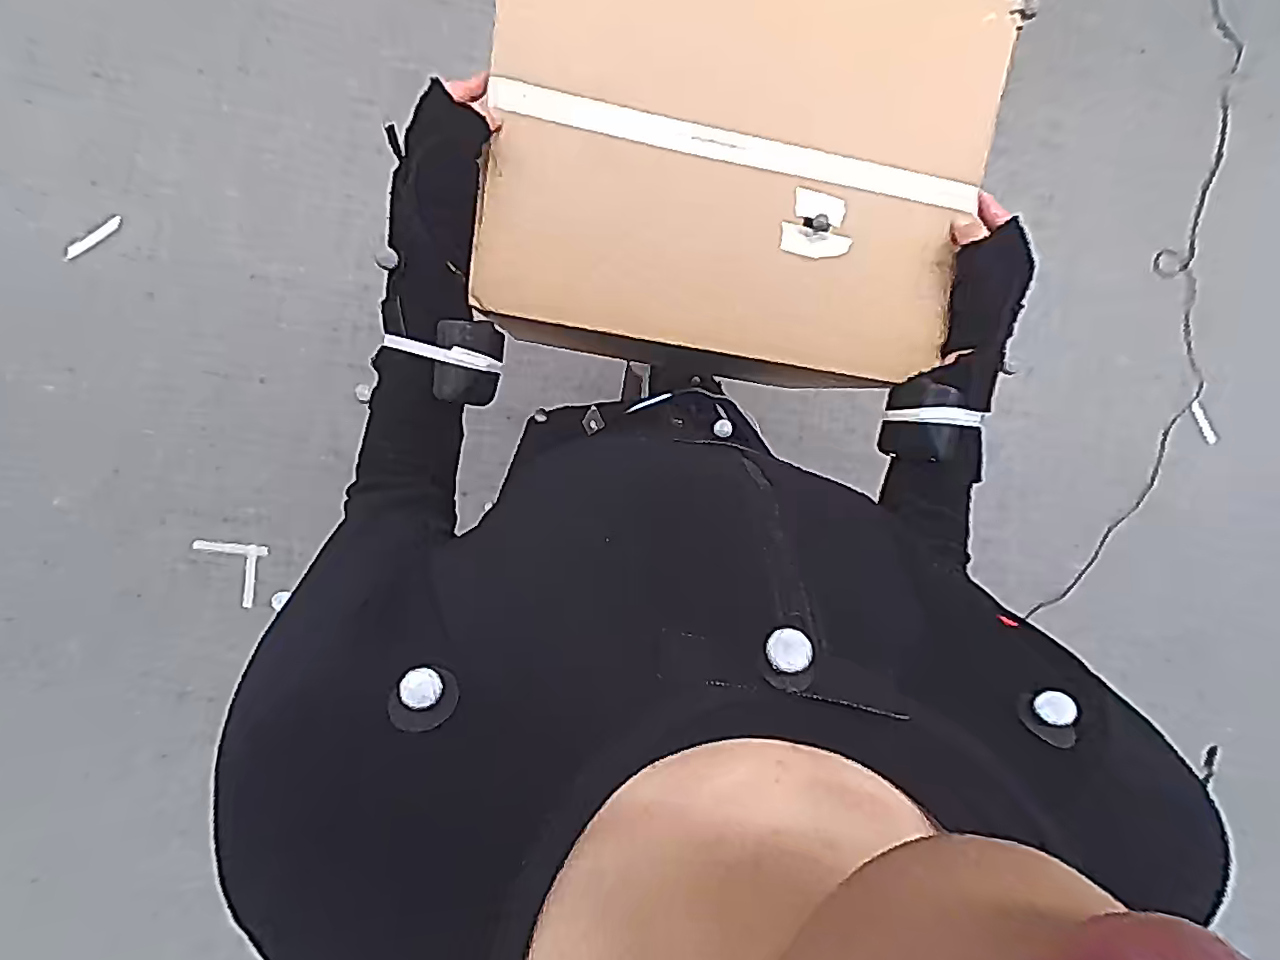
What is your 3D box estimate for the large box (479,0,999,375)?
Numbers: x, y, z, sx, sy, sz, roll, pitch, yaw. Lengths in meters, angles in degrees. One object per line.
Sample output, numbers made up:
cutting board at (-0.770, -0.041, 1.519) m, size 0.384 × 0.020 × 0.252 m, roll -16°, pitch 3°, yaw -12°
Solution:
large box at (0.063, -0.297, 0.587) m, size 0.408 × 0.320 × 0.320 m, roll 8°, pitch 100°, yaw -9°
